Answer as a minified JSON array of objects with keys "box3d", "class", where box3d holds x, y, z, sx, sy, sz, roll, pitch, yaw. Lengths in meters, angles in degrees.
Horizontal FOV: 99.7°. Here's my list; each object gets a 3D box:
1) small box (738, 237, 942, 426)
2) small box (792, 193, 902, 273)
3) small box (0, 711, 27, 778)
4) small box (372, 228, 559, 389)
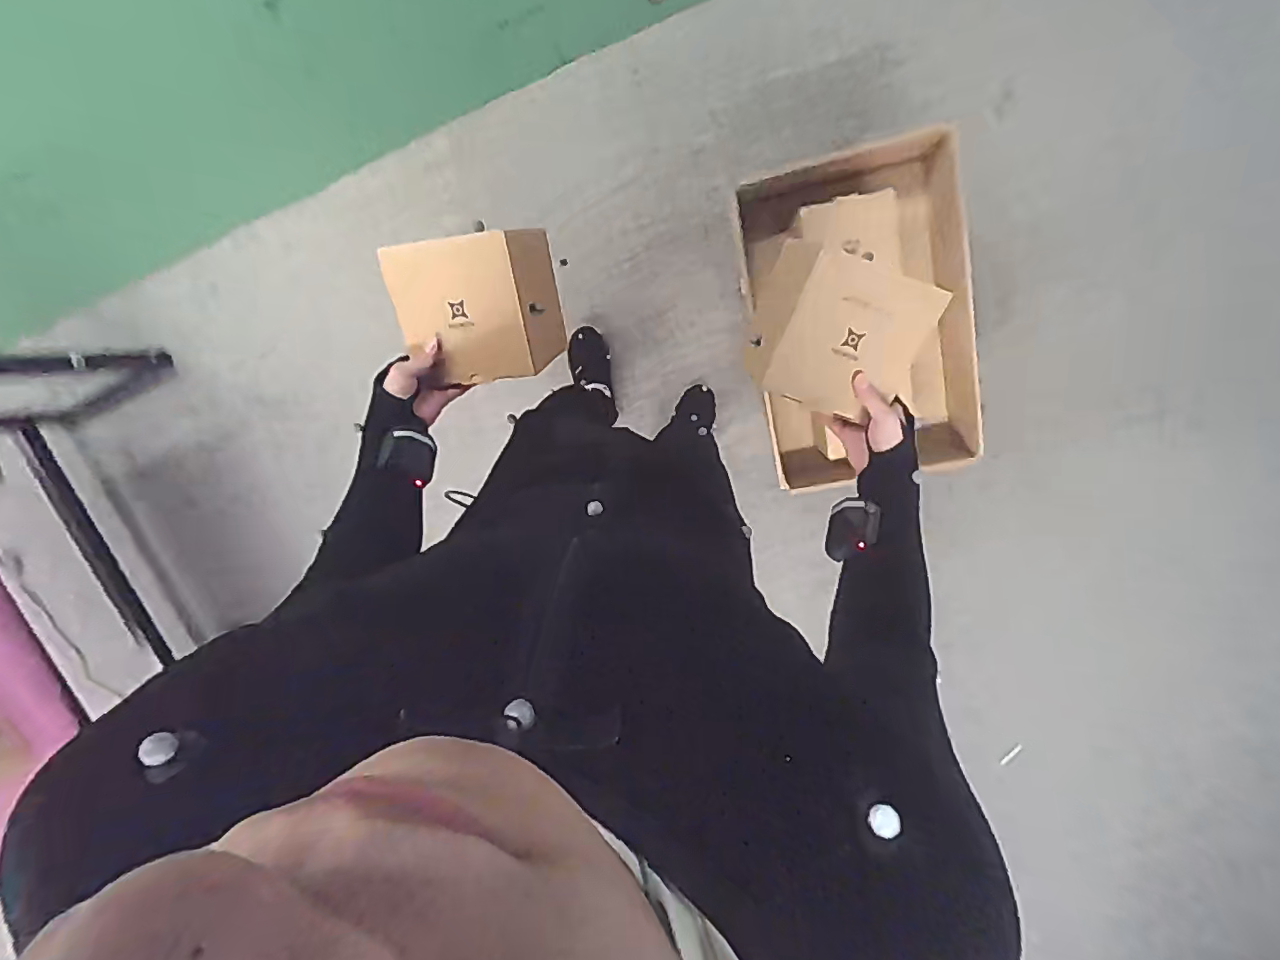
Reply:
[{"box3d":[0.238,-0.198,0.702,0.168,0.176,0.179,17,114,-8],"class":"small box"},{"box3d":[0.393,-0.426,1.048,0.168,0.176,0.179,-7,102,10],"class":"small box"},{"box3d":[-1.542,0.628,1.192,0.179,0.176,0.168,-21,100,13],"class":"small box"},{"box3d":[-0.222,-0.238,0.739,0.168,0.176,0.179,-5,115,9],"class":"small box"}]
